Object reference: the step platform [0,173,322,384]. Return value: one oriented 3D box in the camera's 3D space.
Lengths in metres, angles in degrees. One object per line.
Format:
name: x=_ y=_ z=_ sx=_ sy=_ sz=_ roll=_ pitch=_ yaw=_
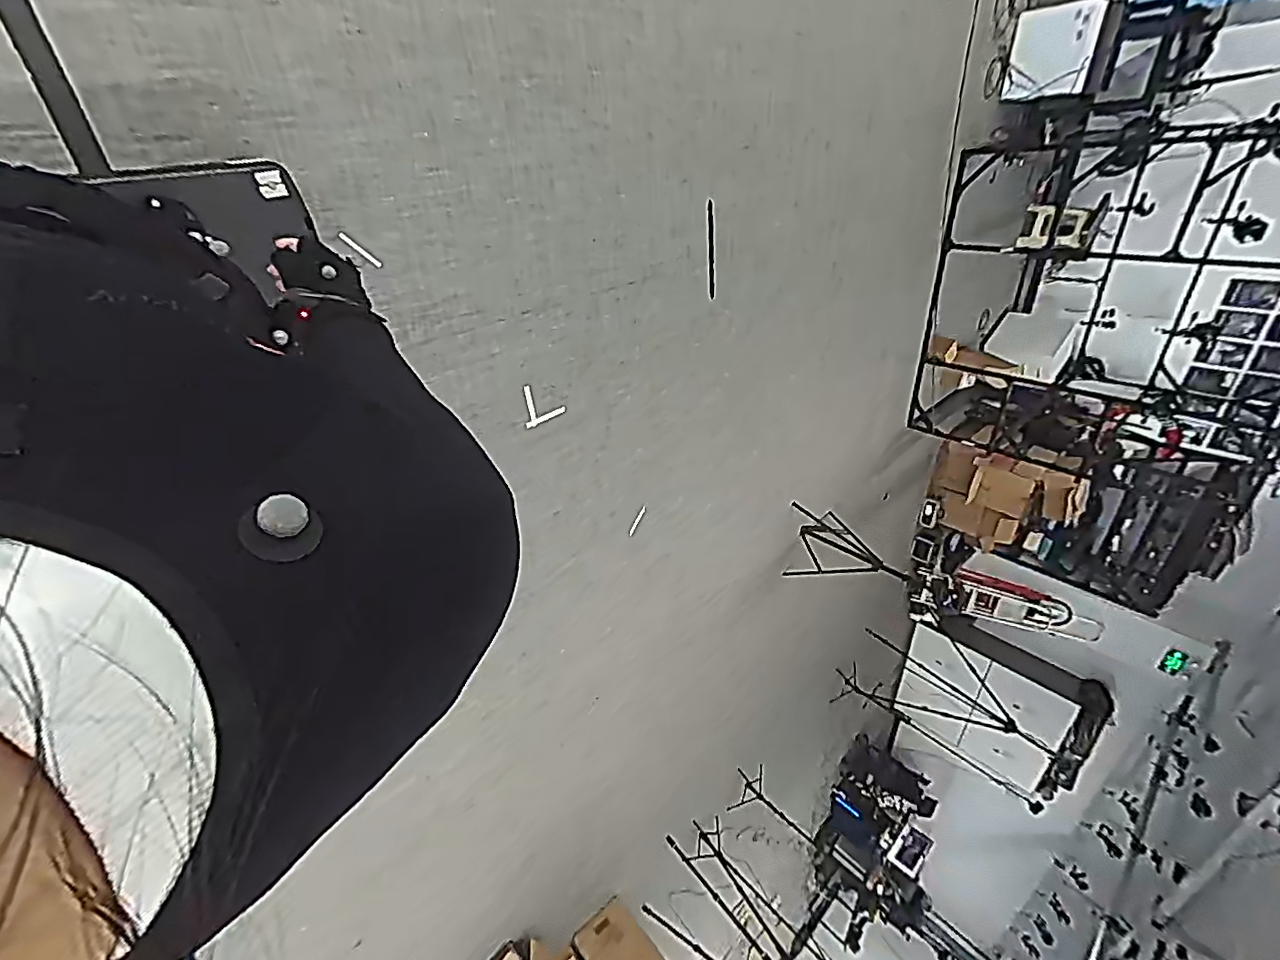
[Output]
step platform: x=-1.037 y=-0.418 z=1.080 sx=0.684 sy=0.204 sz=0.286 roll=-31 pitch=130 yaw=-33
